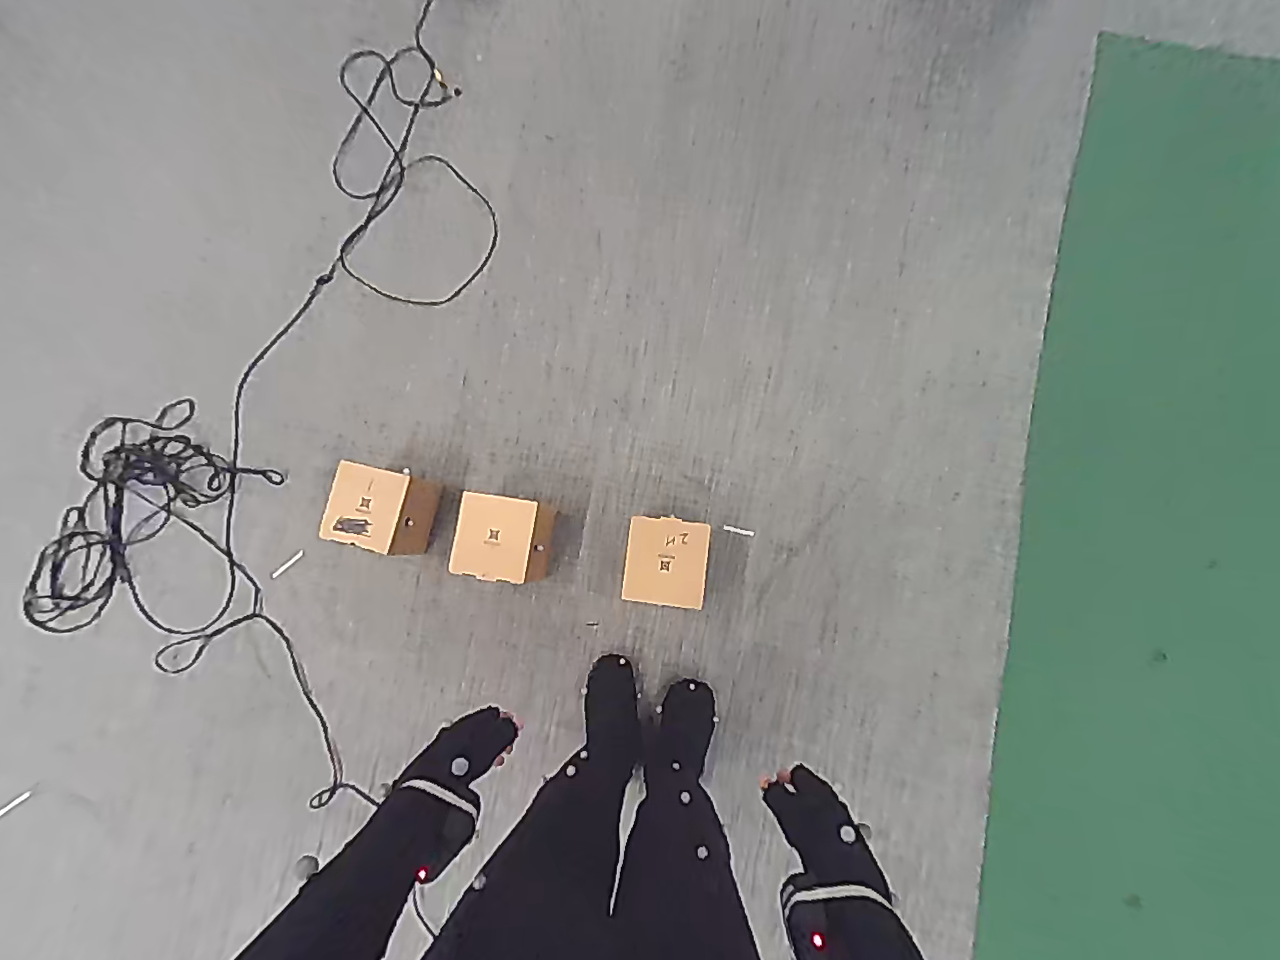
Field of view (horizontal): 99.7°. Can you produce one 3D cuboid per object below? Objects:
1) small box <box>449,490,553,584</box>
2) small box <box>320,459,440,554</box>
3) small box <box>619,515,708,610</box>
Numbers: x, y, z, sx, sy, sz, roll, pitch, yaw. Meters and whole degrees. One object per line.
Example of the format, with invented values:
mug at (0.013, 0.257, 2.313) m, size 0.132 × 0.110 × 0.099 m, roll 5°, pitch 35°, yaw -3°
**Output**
small box at (-0.301, 0.128, 1.212) m, size 0.168 × 0.176 × 0.179 m, roll 8°, pitch 84°, yaw 5°
small box at (-0.584, 0.066, 1.239) m, size 0.168 × 0.176 × 0.179 m, roll 13°, pitch 83°, yaw 6°
small box at (0.054, 0.176, 1.178) m, size 0.168 × 0.176 × 0.179 m, roll 7°, pitch 84°, yaw 4°
